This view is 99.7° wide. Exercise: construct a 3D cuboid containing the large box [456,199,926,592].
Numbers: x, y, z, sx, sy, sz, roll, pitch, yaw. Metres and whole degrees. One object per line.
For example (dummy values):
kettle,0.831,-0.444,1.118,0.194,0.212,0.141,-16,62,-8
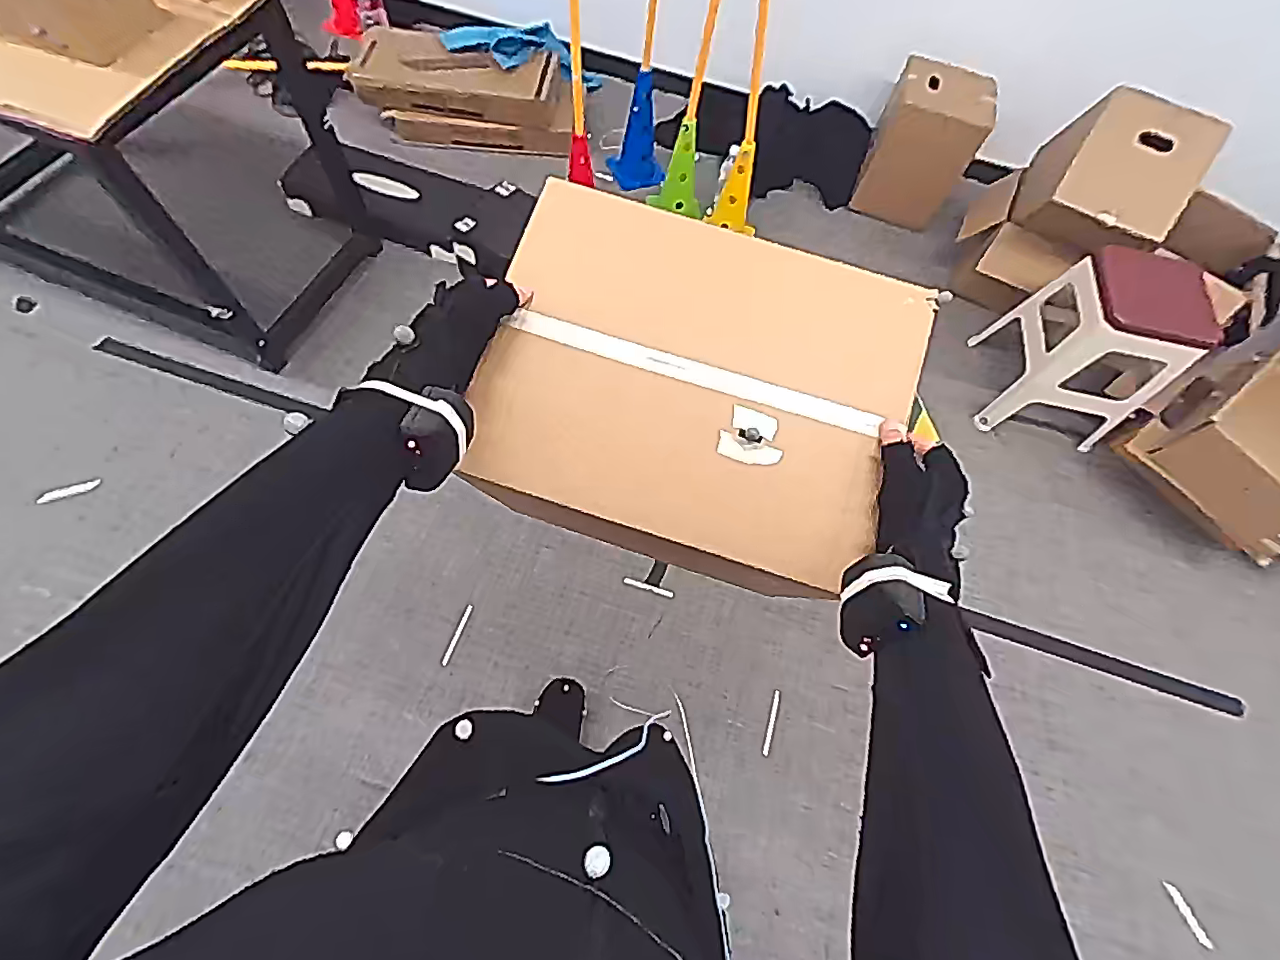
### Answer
large box,0.053,-0.068,0.674,0.408,0.320,0.320,18,80,2
